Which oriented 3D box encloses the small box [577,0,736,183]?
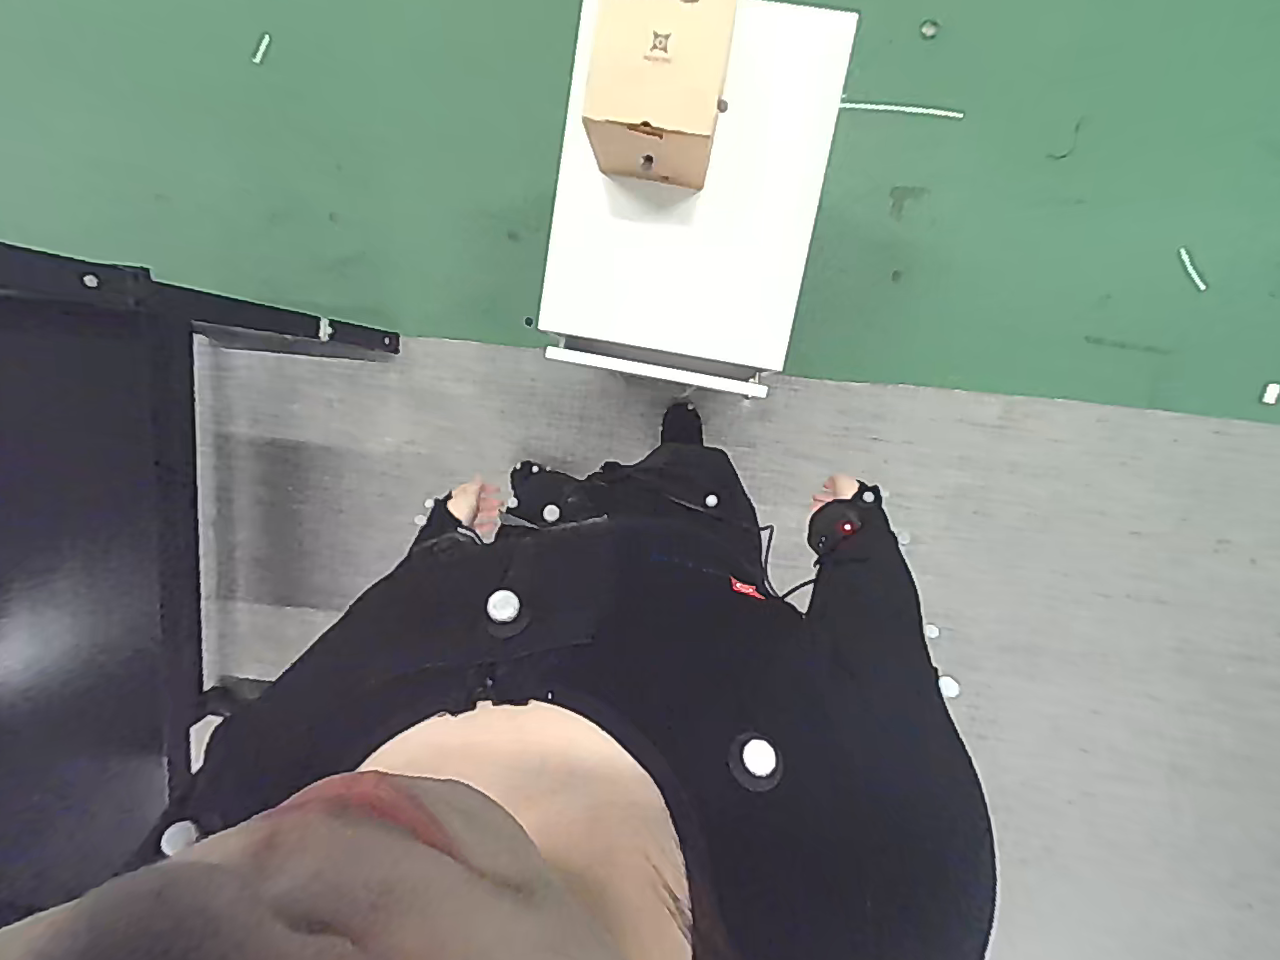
[{"bbox_3d":[0.024,-0.520,0.715,0.168,0.176,0.179,11,100,2],"label":"small box"}]
